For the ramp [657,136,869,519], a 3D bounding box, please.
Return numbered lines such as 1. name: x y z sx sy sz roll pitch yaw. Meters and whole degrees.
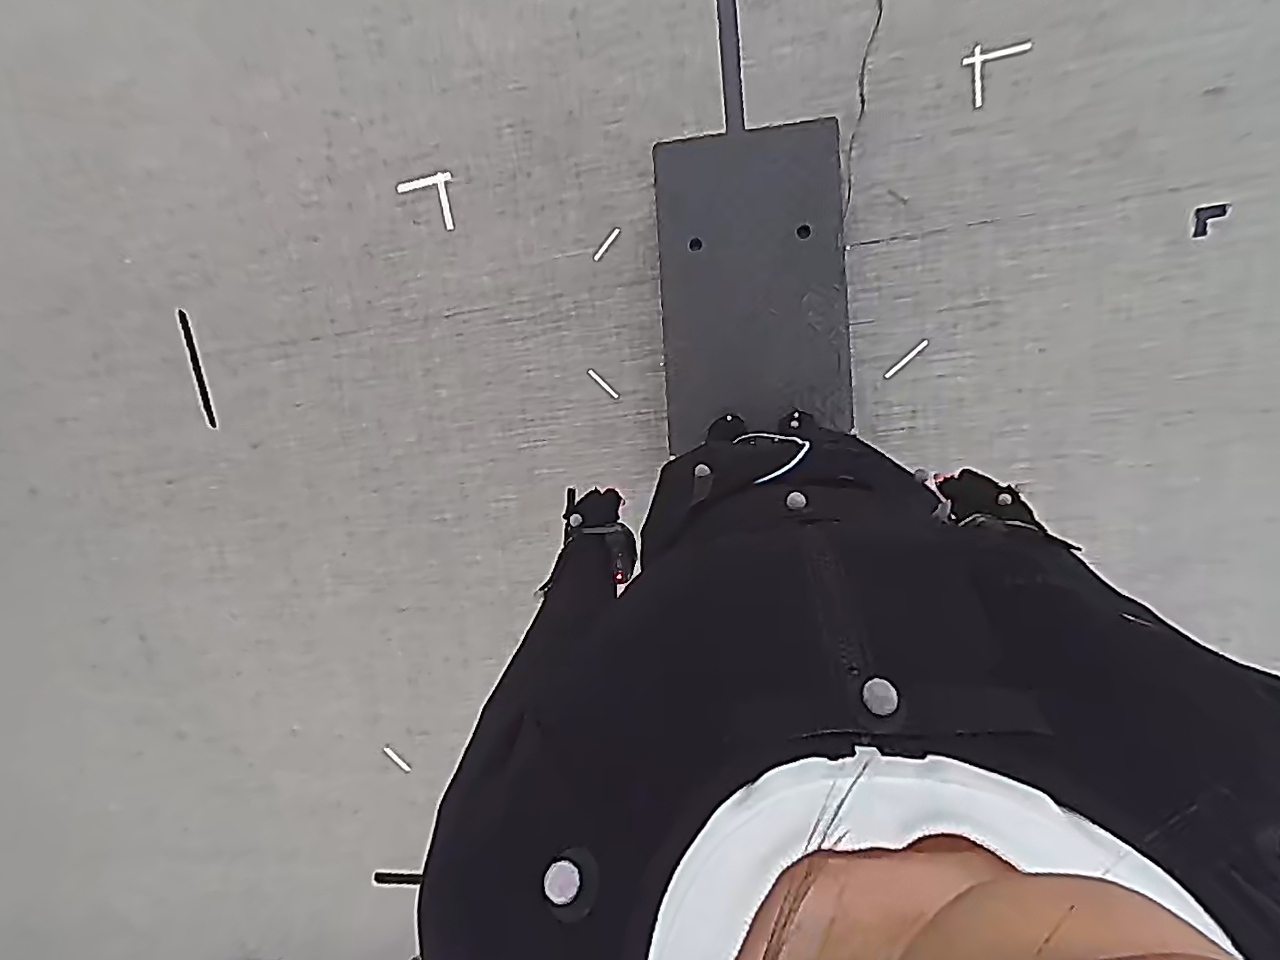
1. ramp: 0.320 -0.406 1.470 0.509 0.206 0.991 -6 98 11
